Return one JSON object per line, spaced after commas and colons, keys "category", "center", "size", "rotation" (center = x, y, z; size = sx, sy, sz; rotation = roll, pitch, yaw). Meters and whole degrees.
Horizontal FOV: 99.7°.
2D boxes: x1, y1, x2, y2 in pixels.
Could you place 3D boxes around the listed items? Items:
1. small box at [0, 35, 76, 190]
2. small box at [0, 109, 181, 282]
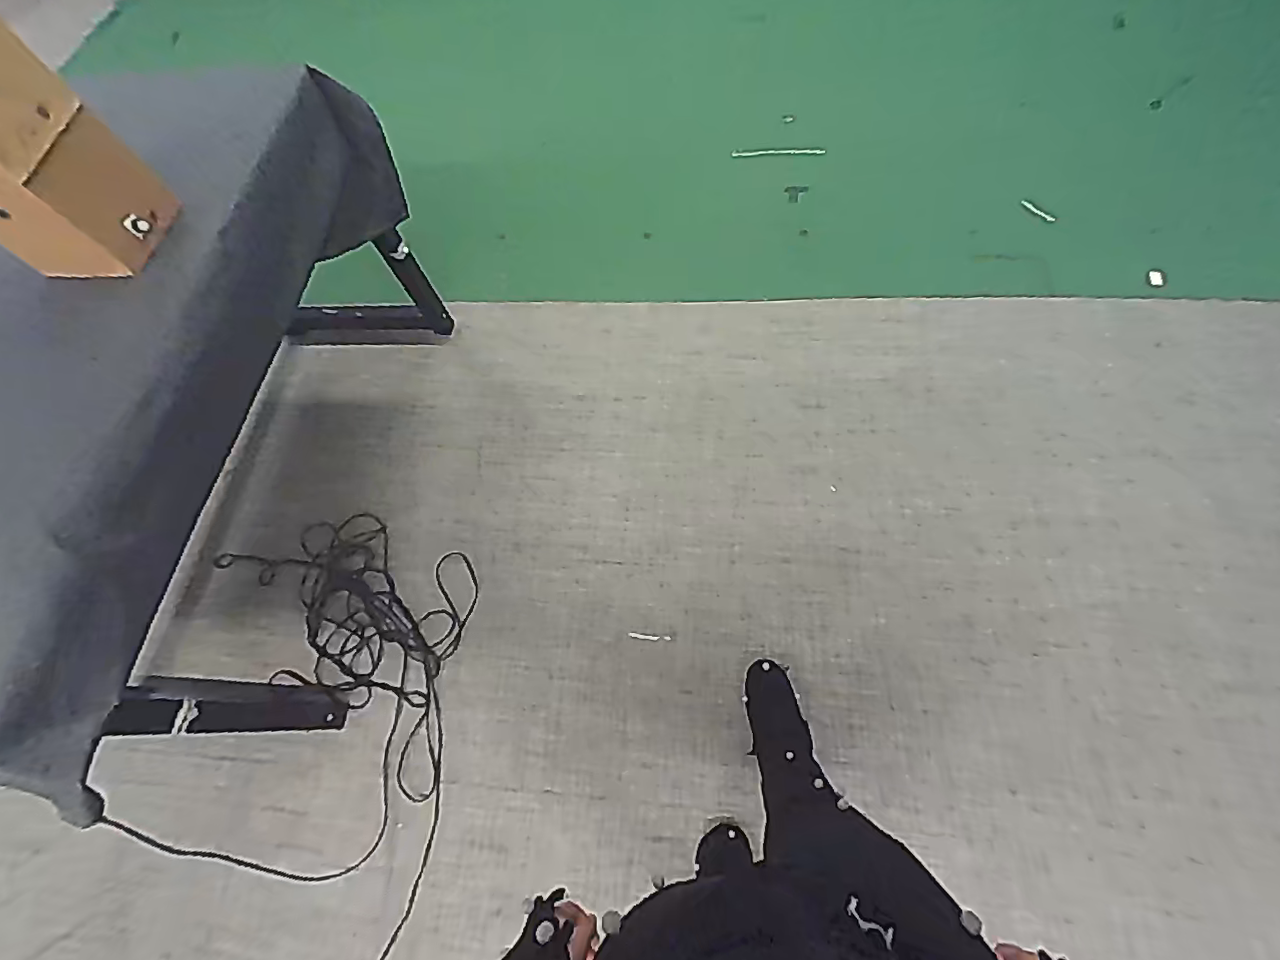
{"category": "small box", "center": [-0.878, -0.481, 0.665], "size": [0.179, 0.176, 0.168], "rotation": [1, 67, 8]}
{"category": "small box", "center": [-0.867, -0.419, 0.815], "size": [0.179, 0.176, 0.168], "rotation": [3, 67, 7]}
